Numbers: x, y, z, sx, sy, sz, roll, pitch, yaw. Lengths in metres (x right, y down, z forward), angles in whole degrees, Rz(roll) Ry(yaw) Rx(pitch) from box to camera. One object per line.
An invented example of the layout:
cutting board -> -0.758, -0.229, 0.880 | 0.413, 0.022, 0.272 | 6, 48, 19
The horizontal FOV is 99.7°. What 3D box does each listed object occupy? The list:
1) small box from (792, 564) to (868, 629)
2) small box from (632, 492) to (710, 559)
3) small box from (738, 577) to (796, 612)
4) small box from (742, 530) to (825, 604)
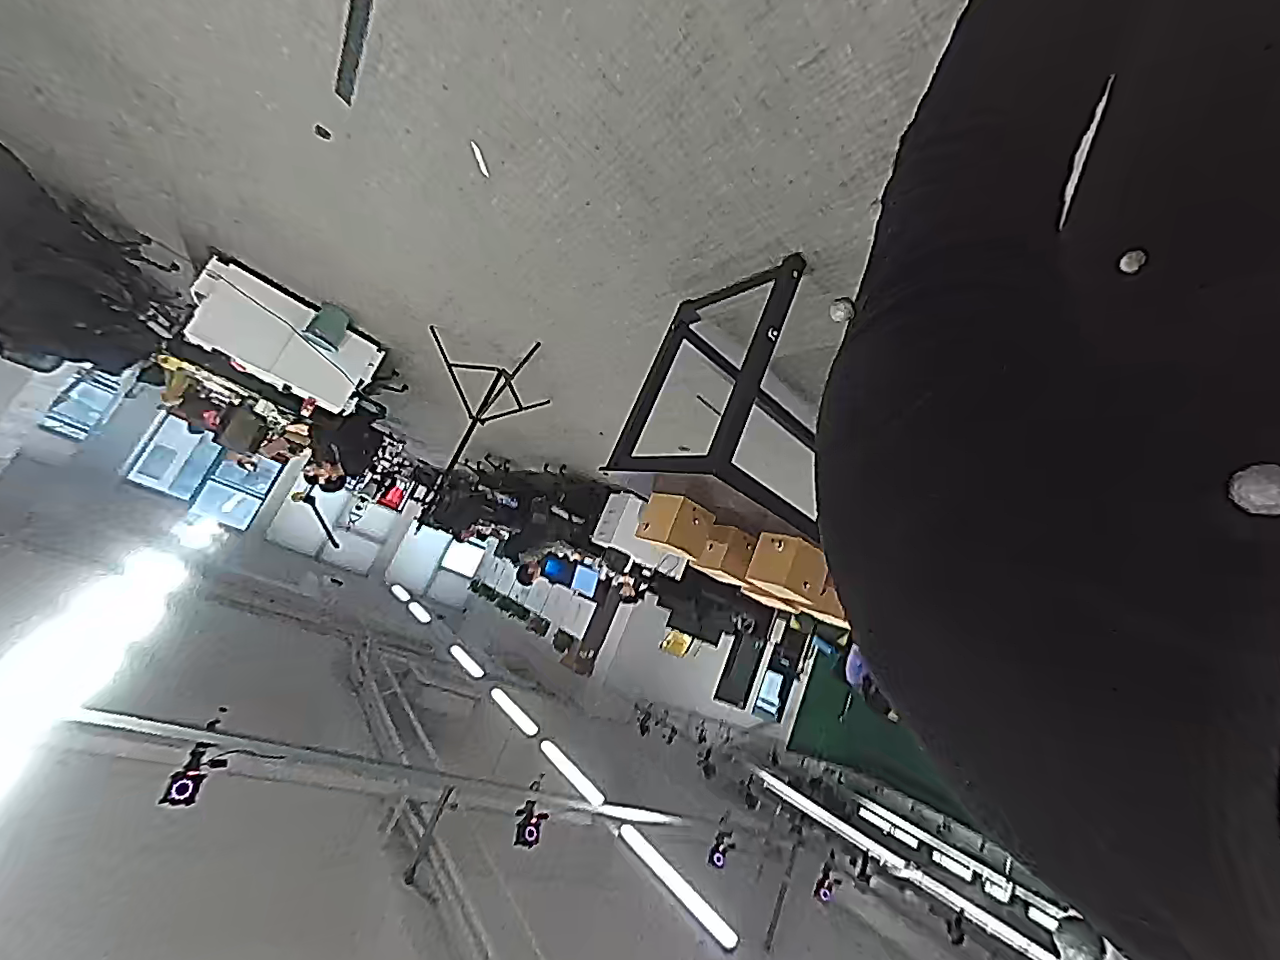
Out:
small box -> 0.660, 0.392, 1.858 | 0.168, 0.176, 0.179 | 29, 165, -25
small box -> 0.108, 0.149, 1.834 | 0.168, 0.176, 0.179 | 31, 165, -33
small box -> 0.516, 0.386, 2.088 | 0.168, 0.176, 0.179 | 32, 164, -32
small box -> 0.465, 0.276, 1.736 | 0.179, 0.176, 0.168 | 32, 164, -29
